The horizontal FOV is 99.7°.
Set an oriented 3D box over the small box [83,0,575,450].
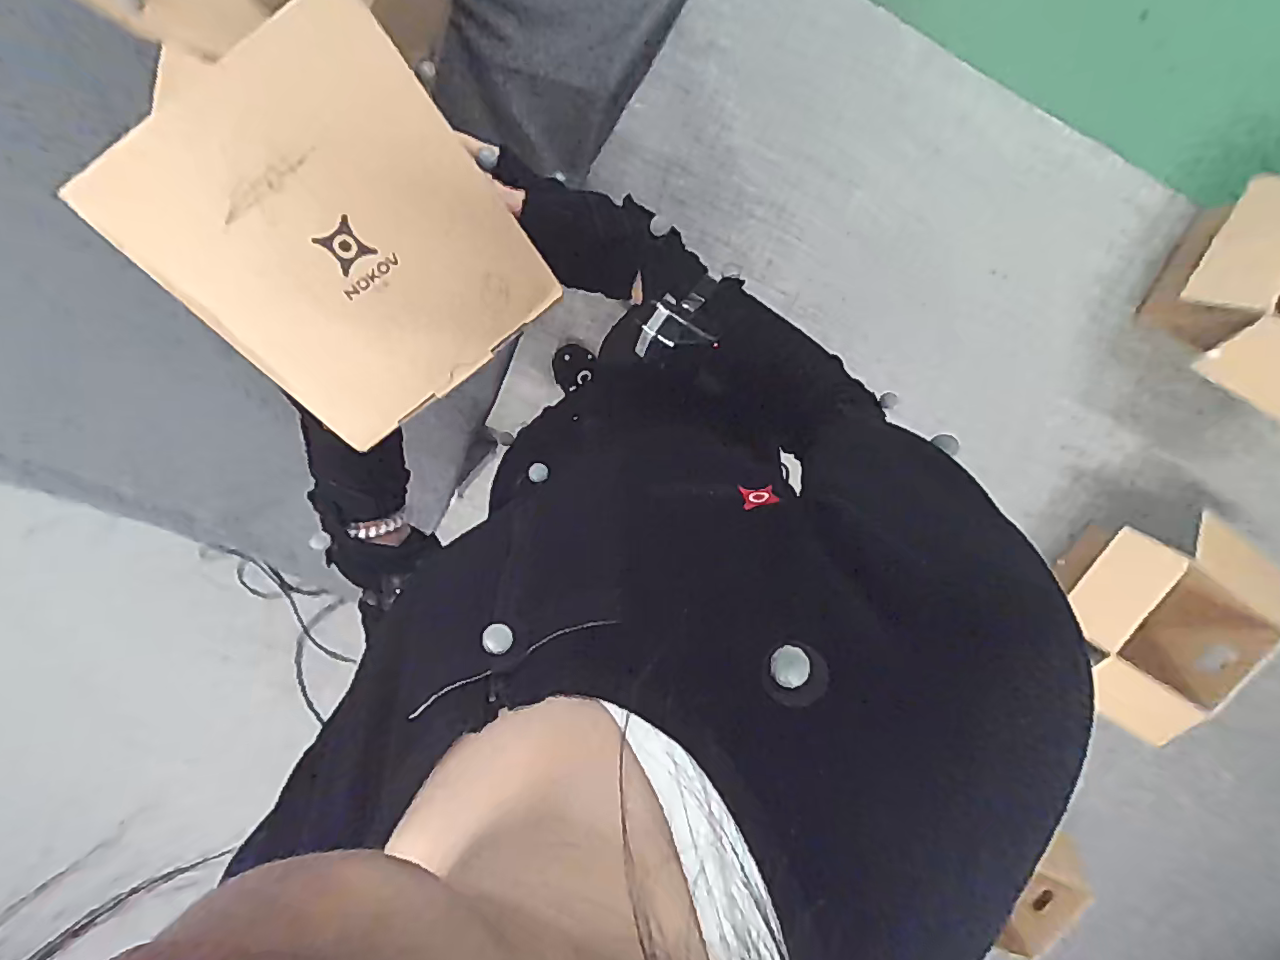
[{"bbox_3d":[-0.170,-0.158,0.356,0.168,0.176,0.179,-37,123,1],"label":"small box"}]
